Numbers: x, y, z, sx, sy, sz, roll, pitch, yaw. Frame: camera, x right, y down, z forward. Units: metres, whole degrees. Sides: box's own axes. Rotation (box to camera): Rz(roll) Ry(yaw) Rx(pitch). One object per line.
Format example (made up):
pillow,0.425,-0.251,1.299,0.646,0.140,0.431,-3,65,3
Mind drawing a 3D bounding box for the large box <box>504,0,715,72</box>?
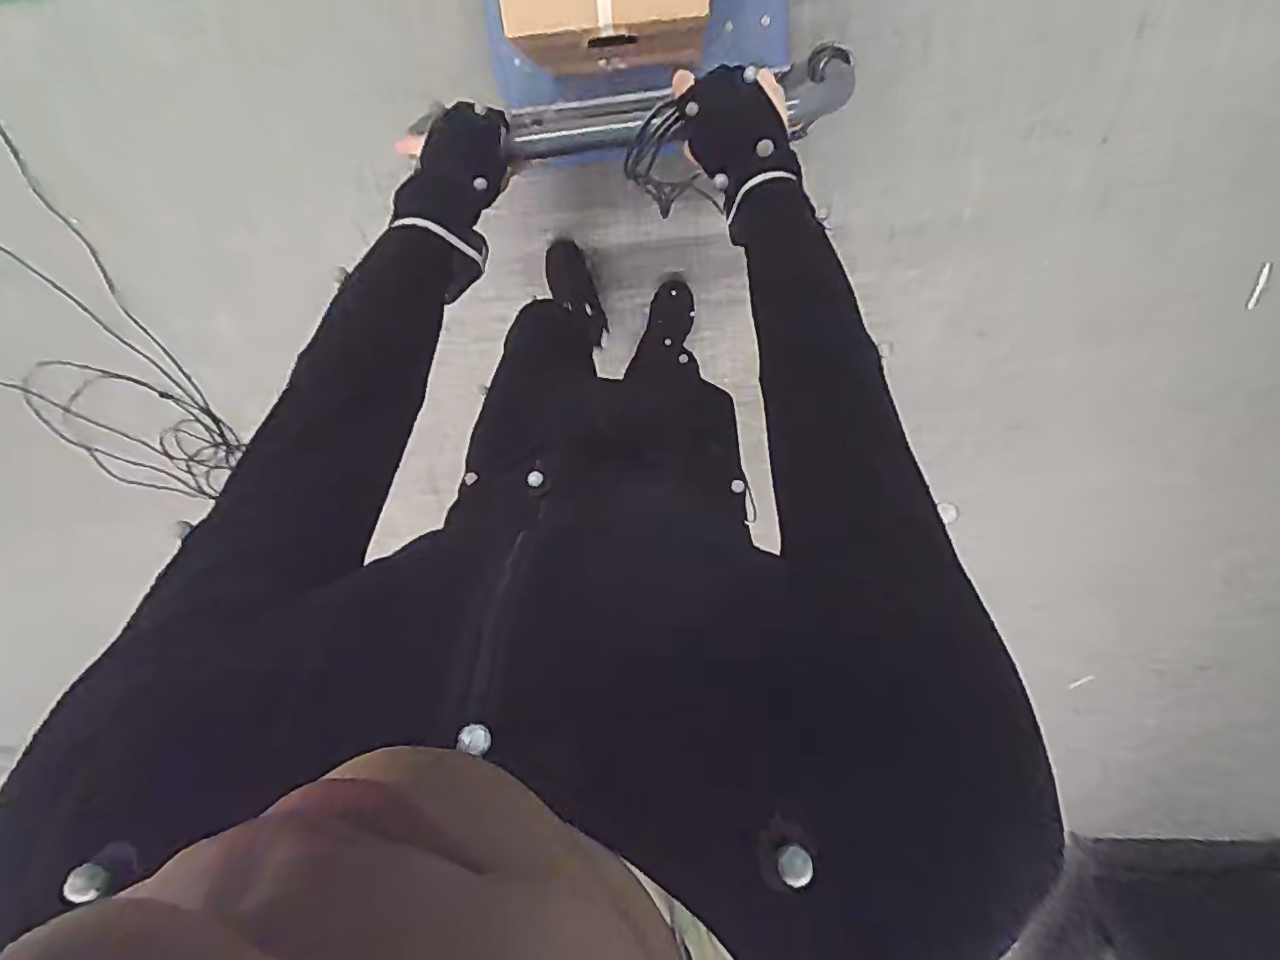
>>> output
large box,-0.047,-0.920,0.838,0.320,0.320,0.408,-1,118,5
